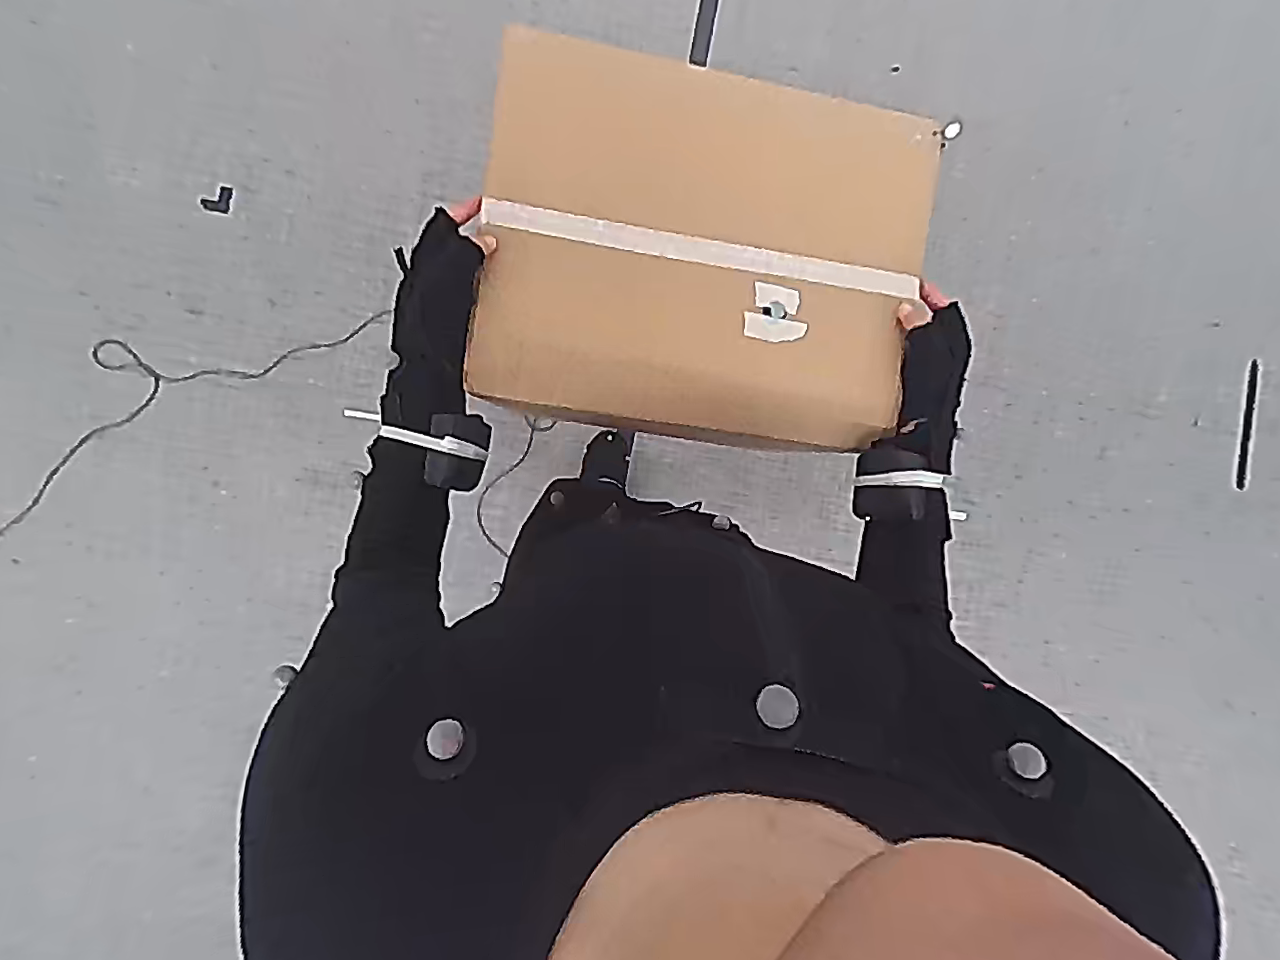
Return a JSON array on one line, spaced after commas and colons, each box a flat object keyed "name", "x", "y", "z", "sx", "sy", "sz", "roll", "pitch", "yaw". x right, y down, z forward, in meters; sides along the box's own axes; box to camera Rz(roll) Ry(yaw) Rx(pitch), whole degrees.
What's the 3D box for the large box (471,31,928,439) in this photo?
[{"name": "large box", "x": 0.042, "y": -0.225, "z": 0.645, "sx": 0.408, "sy": 0.320, "sz": 0.320, "roll": 8, "pitch": 94, "yaw": -8}]
